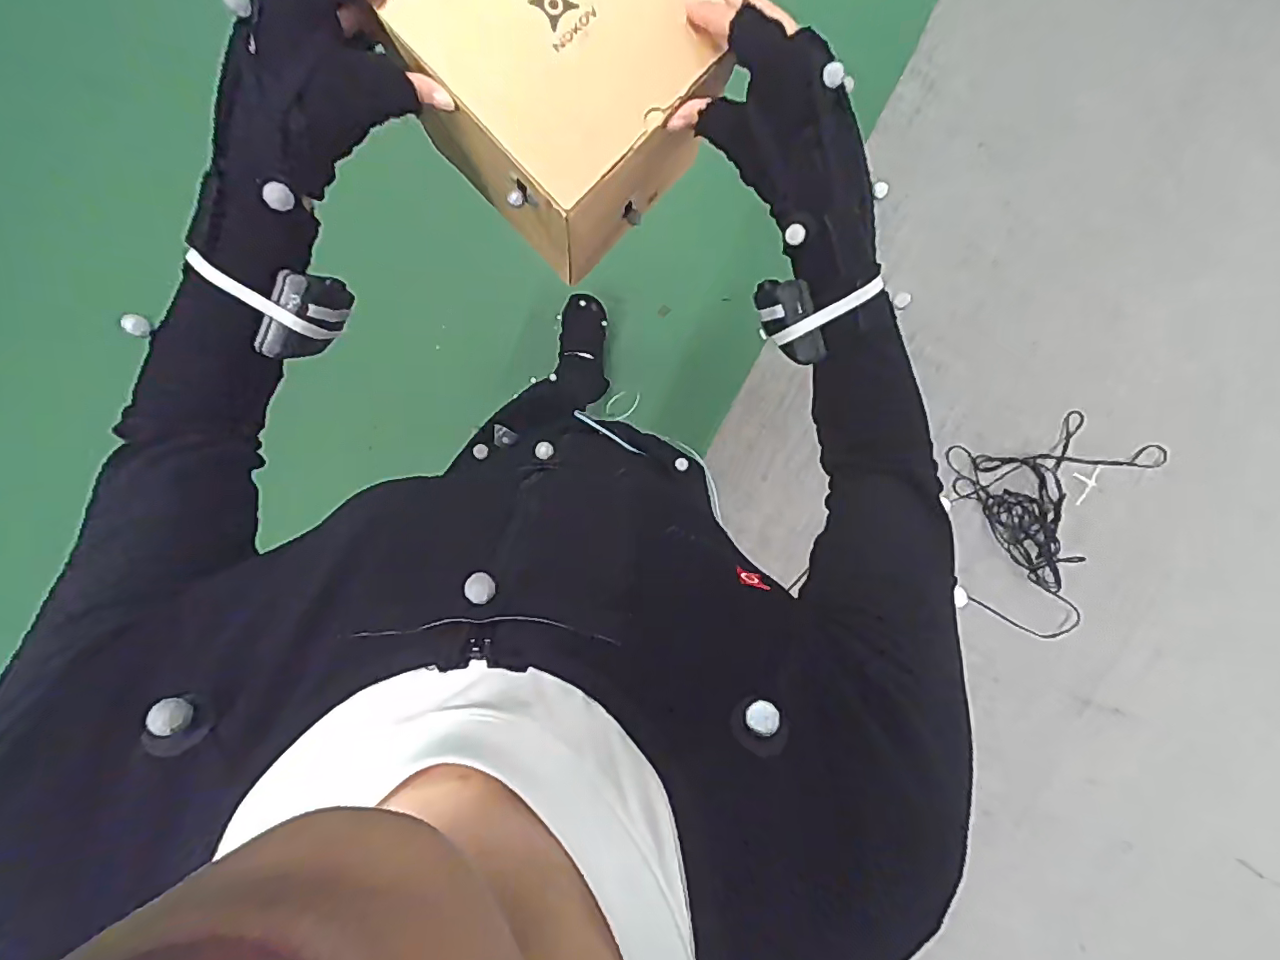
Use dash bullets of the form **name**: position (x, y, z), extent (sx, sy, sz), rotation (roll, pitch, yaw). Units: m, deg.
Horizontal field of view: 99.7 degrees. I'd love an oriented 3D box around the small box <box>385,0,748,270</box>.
- **small box**: position (-0.054, -0.298, 0.418), extent (0.168, 0.176, 0.179), rotation (-45, 99, -1)
